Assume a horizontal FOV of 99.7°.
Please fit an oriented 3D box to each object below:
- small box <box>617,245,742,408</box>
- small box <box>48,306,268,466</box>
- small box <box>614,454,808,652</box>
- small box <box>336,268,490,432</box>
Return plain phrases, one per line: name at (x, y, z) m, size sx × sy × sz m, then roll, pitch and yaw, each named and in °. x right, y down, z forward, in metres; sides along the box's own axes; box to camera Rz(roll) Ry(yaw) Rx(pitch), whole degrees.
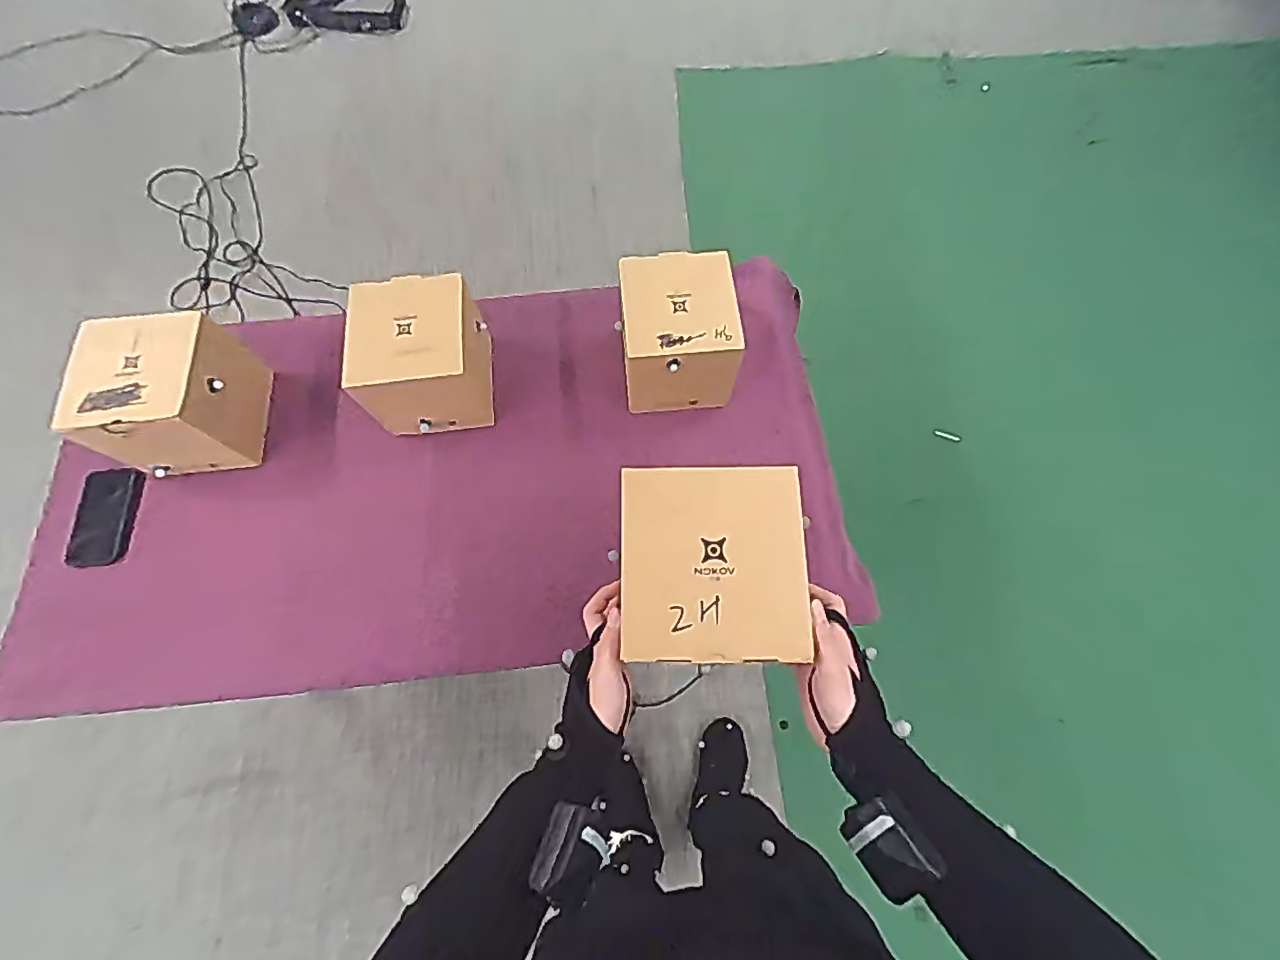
small box at (0.053, -0.232, 0.839) m, size 0.168 × 0.176 × 0.179 m, roll -5°, pitch 69°, yaw -1°
small box at (-0.694, -0.128, 0.805) m, size 0.168 × 0.176 × 0.179 m, roll -6°, pitch 69°, yaw -2°
small box at (0.063, 0.082, 0.552) m, size 0.168 × 0.176 × 0.179 m, roll -1°, pitch 74°, yaw 3°
small box at (-0.334, -0.192, 0.828) m, size 0.168 × 0.176 × 0.179 m, roll -7°, pitch 70°, yaw -1°
